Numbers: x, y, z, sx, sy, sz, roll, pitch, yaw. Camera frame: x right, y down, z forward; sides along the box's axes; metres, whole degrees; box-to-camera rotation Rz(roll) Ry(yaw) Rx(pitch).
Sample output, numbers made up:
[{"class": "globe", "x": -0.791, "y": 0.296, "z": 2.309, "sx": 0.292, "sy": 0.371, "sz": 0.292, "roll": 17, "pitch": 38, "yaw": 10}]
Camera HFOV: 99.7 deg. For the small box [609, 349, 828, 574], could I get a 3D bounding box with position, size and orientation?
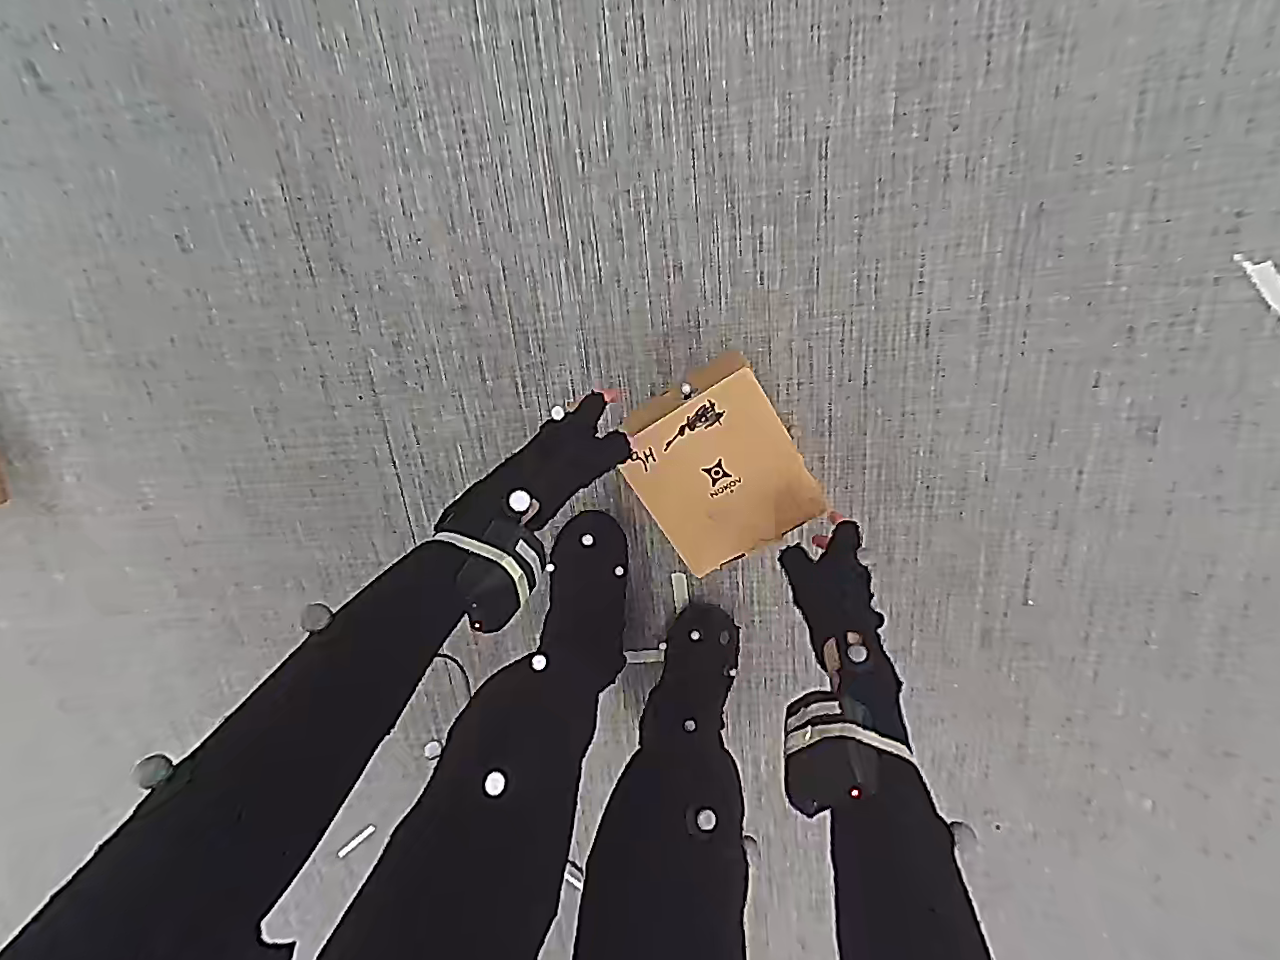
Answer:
[{"class": "small box", "x": 0.088, "y": -0.031, "z": 0.625, "sx": 0.168, "sy": 0.176, "sz": 0.179, "roll": -31, "pitch": 104, "yaw": 14}]
